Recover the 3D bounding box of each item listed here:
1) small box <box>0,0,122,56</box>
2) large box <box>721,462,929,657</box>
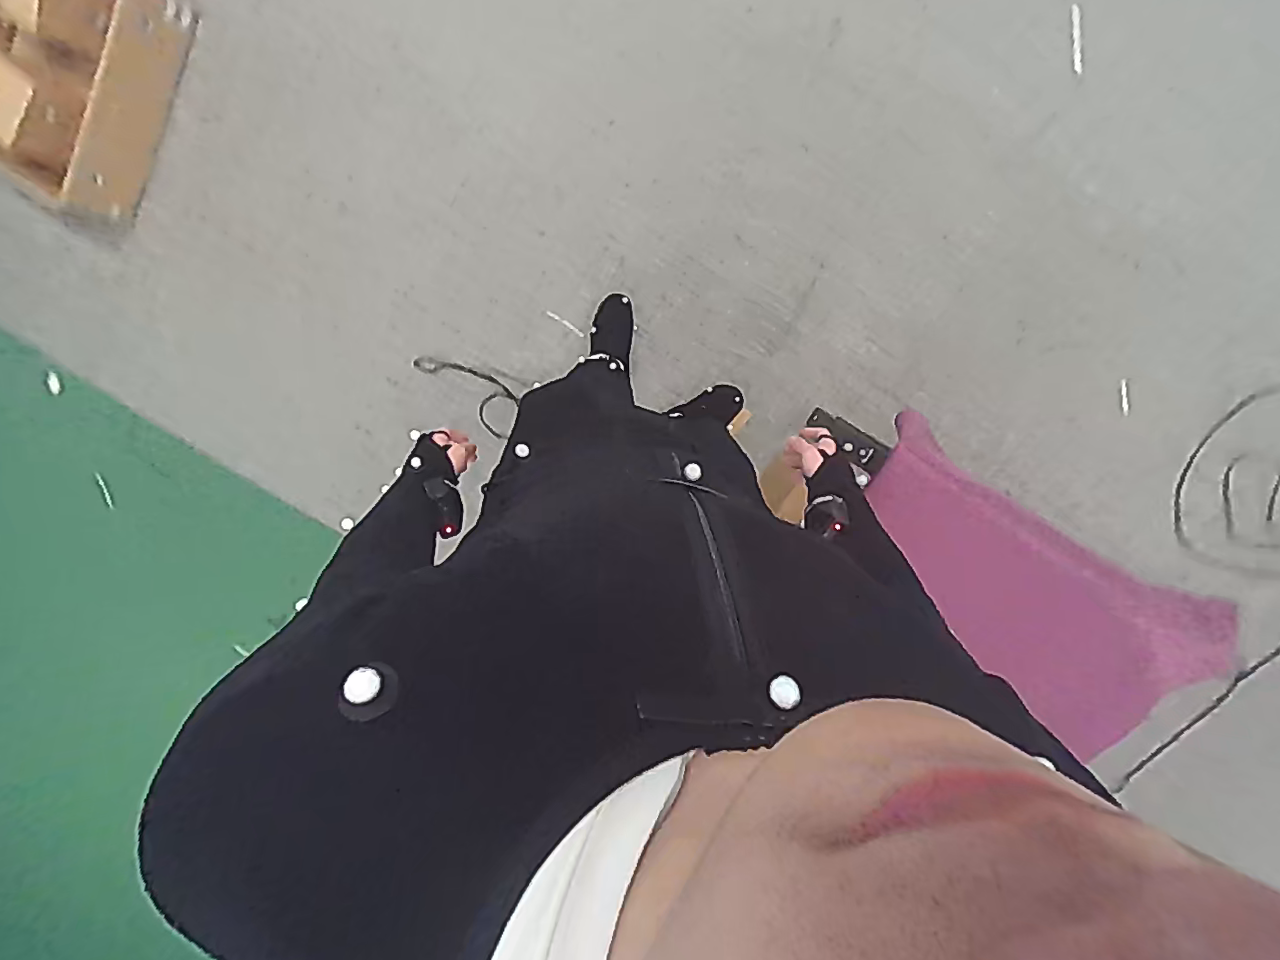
[{"bbox_3d":[-1.425,-1.197,1.315,0.168,0.176,0.179,29,107,-4],"label":"small box"},{"bbox_3d":[0.483,0.204,1.507,0.408,0.320,0.320,32,107,-5],"label":"large box"}]
